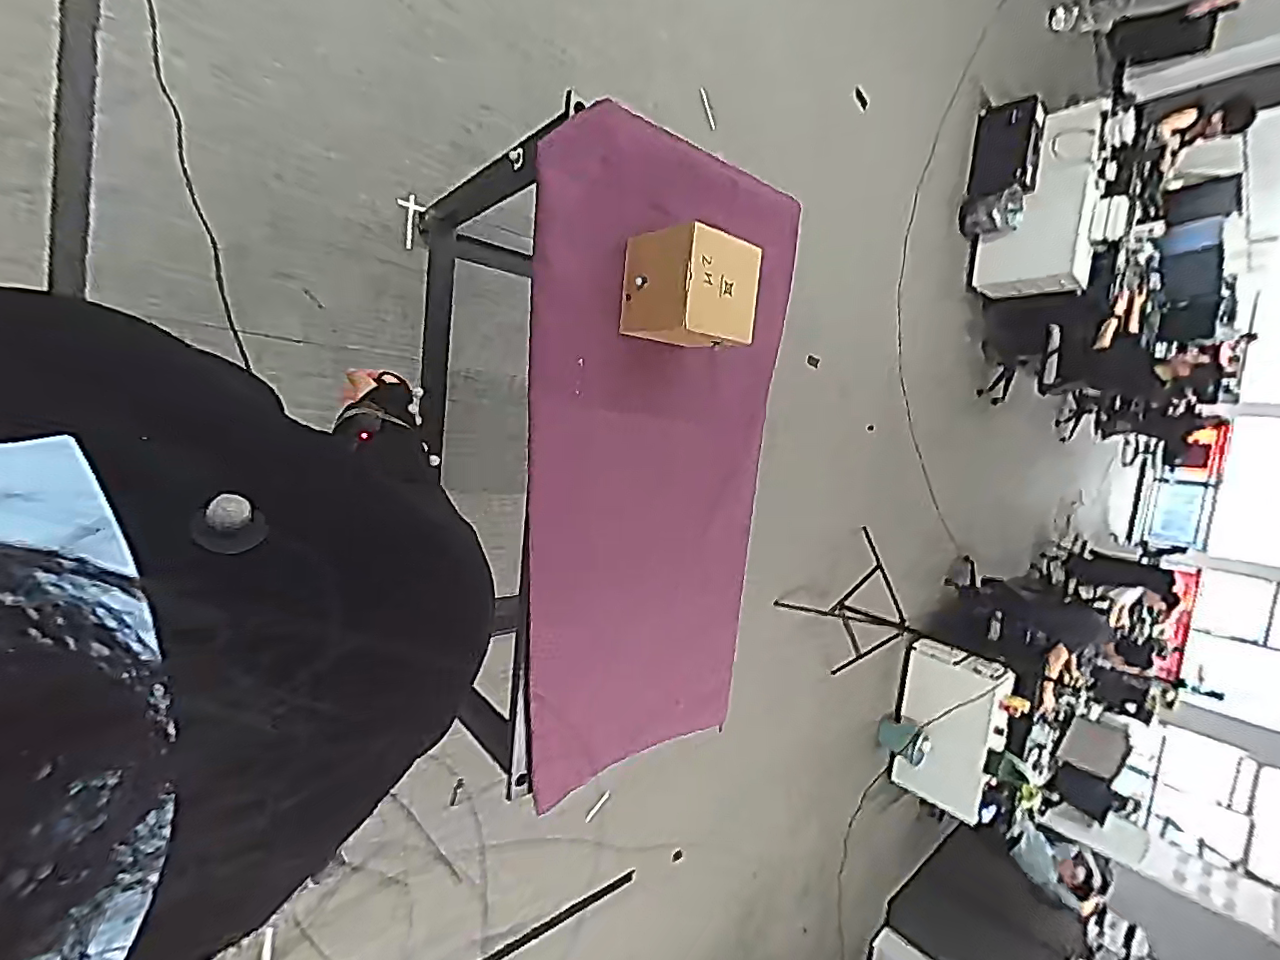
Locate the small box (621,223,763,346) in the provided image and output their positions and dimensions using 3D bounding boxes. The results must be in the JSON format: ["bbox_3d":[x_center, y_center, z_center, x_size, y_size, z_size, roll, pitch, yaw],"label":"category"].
[{"bbox_3d":[0.090,-0.335,0.963,0.179,0.176,0.168,-1,100,-41],"label":"small box"}]
